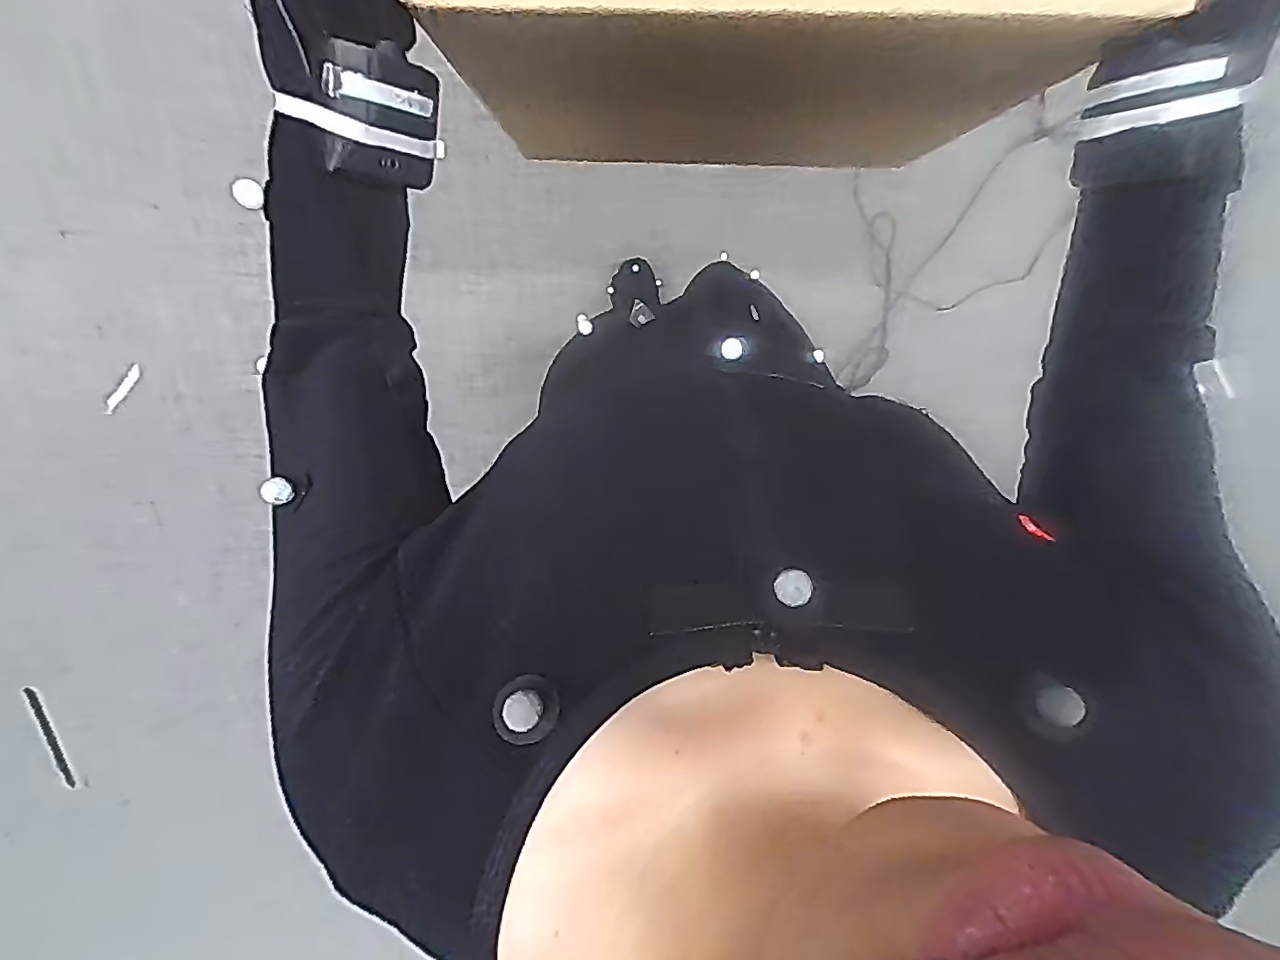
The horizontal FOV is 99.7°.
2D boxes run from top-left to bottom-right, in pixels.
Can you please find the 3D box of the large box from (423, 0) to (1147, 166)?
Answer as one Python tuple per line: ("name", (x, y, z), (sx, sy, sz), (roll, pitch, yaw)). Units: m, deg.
("large box", (0.076, -0.440, 0.390), (0.408, 0.320, 0.320), (0, 107, -1))
